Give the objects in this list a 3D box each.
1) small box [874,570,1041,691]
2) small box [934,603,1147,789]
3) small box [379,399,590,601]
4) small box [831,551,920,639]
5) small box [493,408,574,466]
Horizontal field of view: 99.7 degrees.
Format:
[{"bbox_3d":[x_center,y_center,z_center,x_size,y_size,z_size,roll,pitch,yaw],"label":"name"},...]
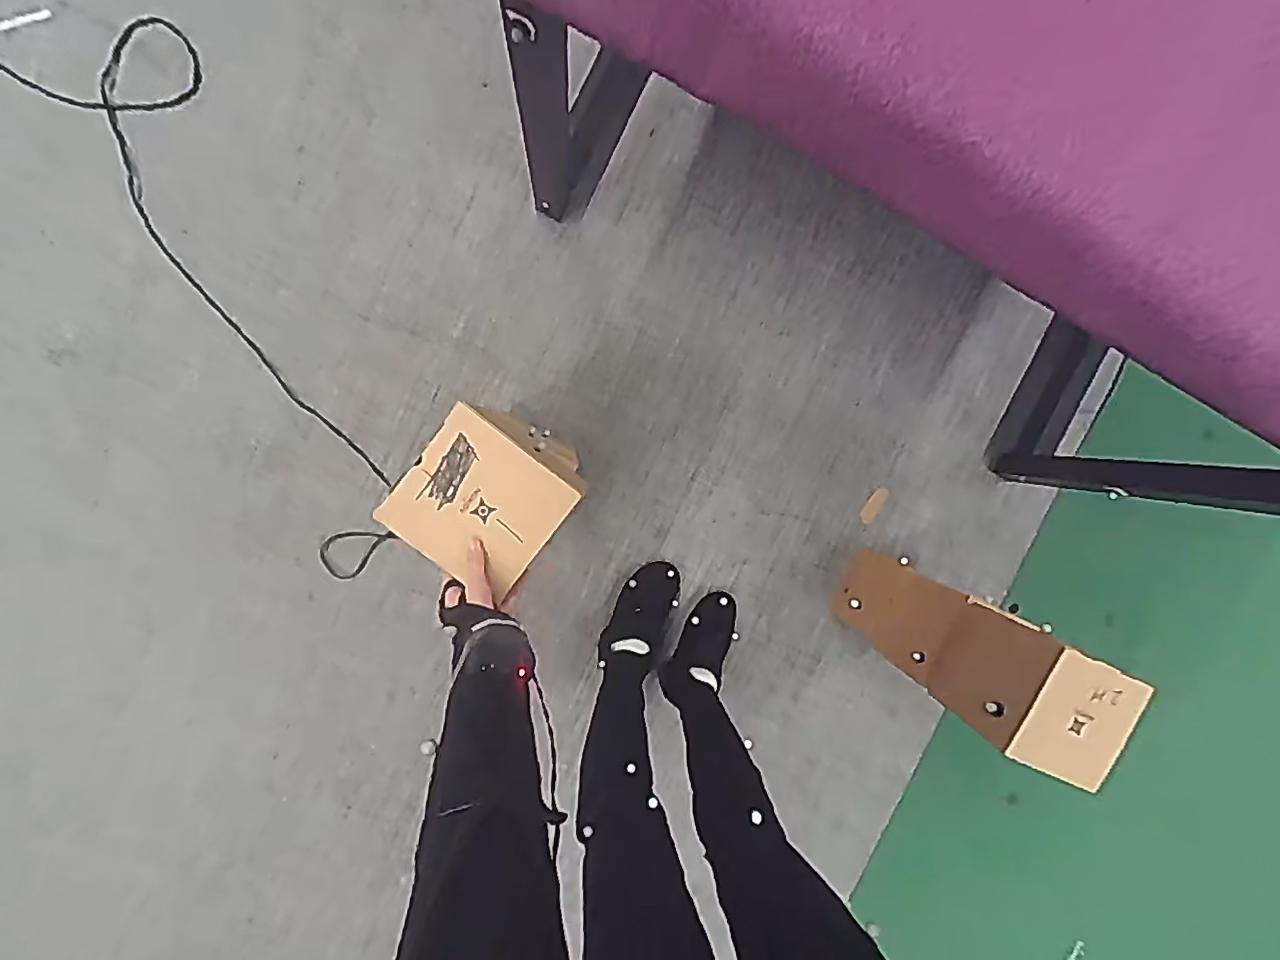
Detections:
[{"bbox_3d":[0.566,0.286,0.989,0.168,0.176,0.179,25,94,-9],"label":"small box"},{"bbox_3d":[0.594,0.319,0.830,0.168,0.176,0.179,25,94,-10],"label":"small box"},{"bbox_3d":[-0.181,0.021,0.688,0.179,0.176,0.168,39,91,-4],"label":"small box"},{"bbox_3d":[0.543,0.264,1.148,0.179,0.176,0.168,27,92,-9],"label":"small box"},{"bbox_3d":[-0.234,-0.020,1.021,0.168,0.176,0.179,30,92,-9],"label":"small box"}]
